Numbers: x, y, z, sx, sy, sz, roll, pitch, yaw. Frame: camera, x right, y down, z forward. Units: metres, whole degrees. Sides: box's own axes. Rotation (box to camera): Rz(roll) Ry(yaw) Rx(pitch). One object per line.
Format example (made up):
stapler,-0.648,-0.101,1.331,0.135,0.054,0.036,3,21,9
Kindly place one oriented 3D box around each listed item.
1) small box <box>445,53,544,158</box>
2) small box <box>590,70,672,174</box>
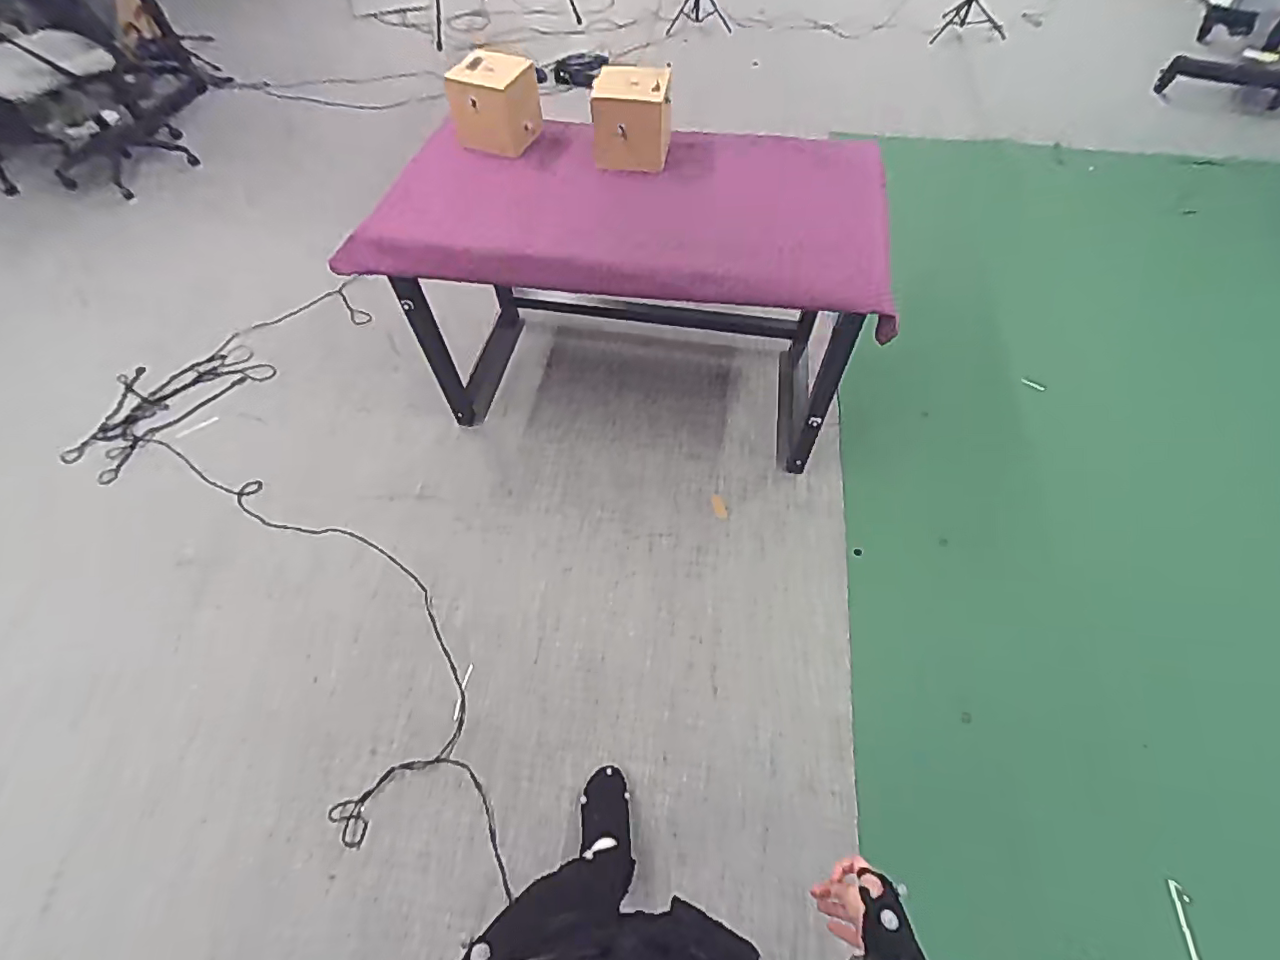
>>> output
small box,-0.374,-0.979,1.420,0.179,0.176,0.168,19,61,11
small box,-0.016,-0.901,1.366,0.179,0.176,0.168,7,60,7
